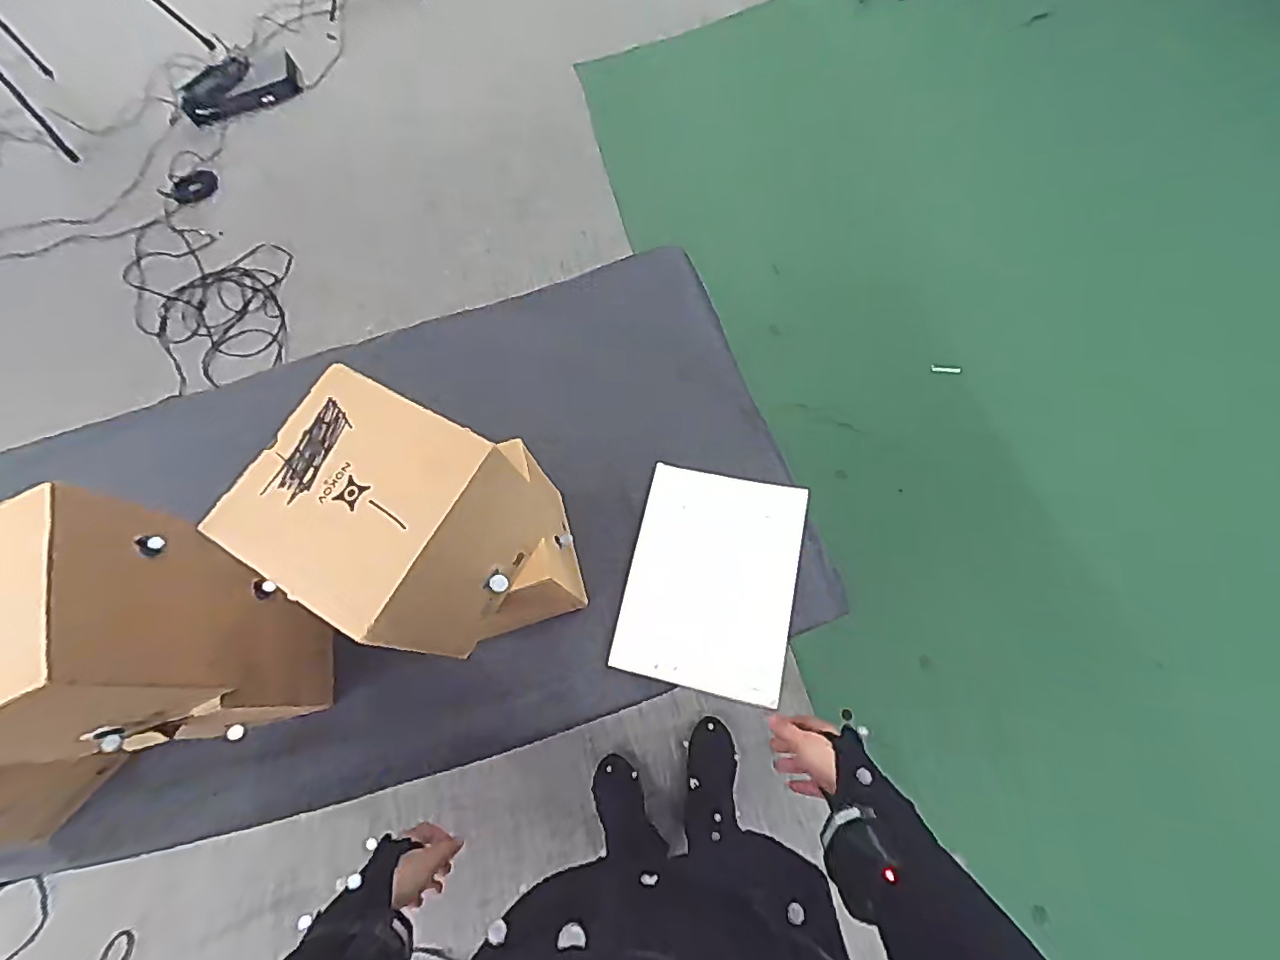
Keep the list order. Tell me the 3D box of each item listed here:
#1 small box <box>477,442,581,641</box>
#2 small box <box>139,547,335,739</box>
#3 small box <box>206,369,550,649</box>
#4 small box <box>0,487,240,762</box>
[{"bbox_3d":[-0.179,0.083,0.638,0.179,0.176,0.168,-19,67,2],"label":"small box"},{"bbox_3d":[-0.489,0.197,0.638,0.168,0.176,0.179,-15,67,3],"label":"small box"},{"bbox_3d":[-0.210,0.037,0.482,0.179,0.176,0.168,26,75,17],"label":"small box"},{"bbox_3d":[-0.507,0.138,0.488,0.168,0.176,0.179,-26,67,-1],"label":"small box"}]
